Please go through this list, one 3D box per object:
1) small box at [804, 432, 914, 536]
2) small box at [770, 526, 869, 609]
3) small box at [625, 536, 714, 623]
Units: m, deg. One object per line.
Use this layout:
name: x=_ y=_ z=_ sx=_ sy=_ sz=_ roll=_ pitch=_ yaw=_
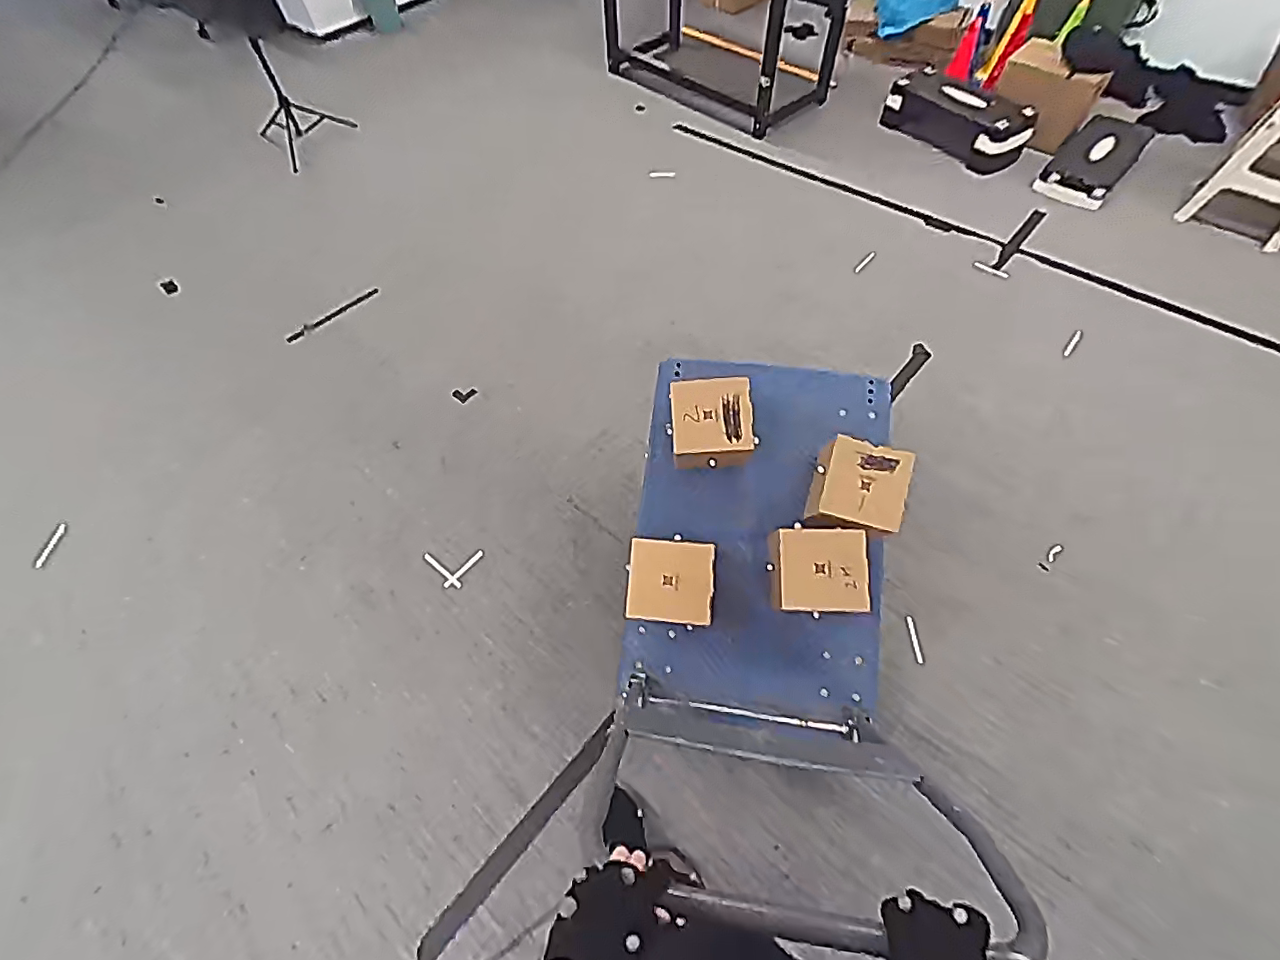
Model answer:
small box: x=0.476 y=0.015 z=1.197 sx=0.168 sy=0.176 sz=0.179 roll=15 pitch=82 yaw=8
small box: x=0.378 y=0.191 z=1.173 sx=0.179 sy=0.176 sz=0.168 roll=0 pitch=80 yaw=5
small box: x=0.068 y=0.220 z=1.196 sx=0.179 sy=0.176 sz=0.168 roll=4 pitch=80 yaw=4
